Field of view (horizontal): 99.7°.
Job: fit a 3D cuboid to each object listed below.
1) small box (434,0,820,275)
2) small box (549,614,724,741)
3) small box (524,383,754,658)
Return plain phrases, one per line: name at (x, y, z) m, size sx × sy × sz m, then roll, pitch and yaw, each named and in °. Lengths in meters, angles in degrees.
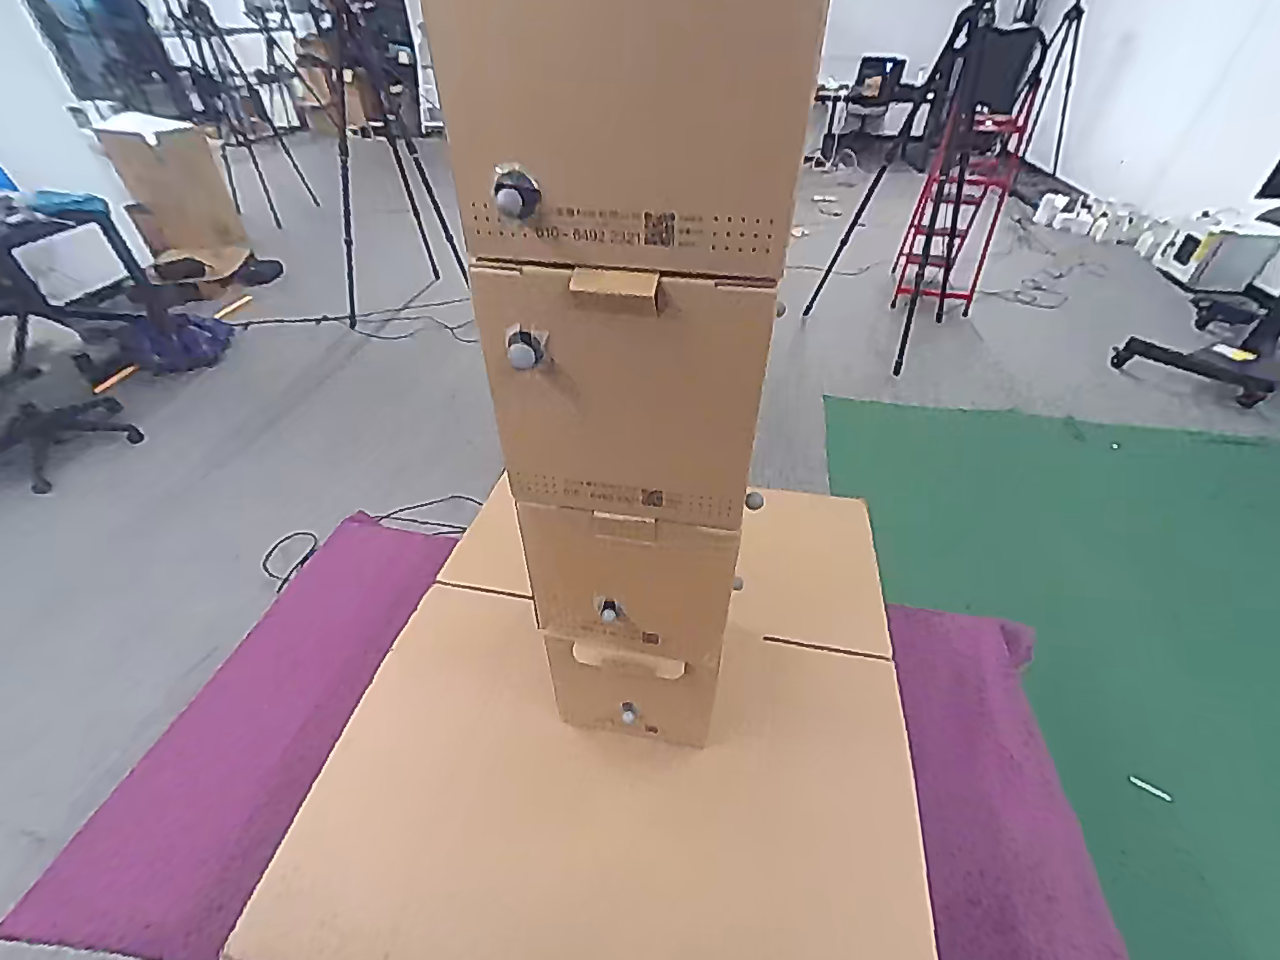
small box at (0.007, -0.224, 0.295) m, size 0.168 × 0.176 × 0.179 m, roll 8°, pitch 39°, yaw 9°
small box at (0.009, 0.157, 0.608) m, size 0.168 × 0.176 × 0.179 m, roll 7°, pitch 41°, yaw 9°
small box at (0.008, 0.033, 0.503) m, size 0.168 × 0.176 × 0.179 m, roll 8°, pitch 41°, yaw 9°
